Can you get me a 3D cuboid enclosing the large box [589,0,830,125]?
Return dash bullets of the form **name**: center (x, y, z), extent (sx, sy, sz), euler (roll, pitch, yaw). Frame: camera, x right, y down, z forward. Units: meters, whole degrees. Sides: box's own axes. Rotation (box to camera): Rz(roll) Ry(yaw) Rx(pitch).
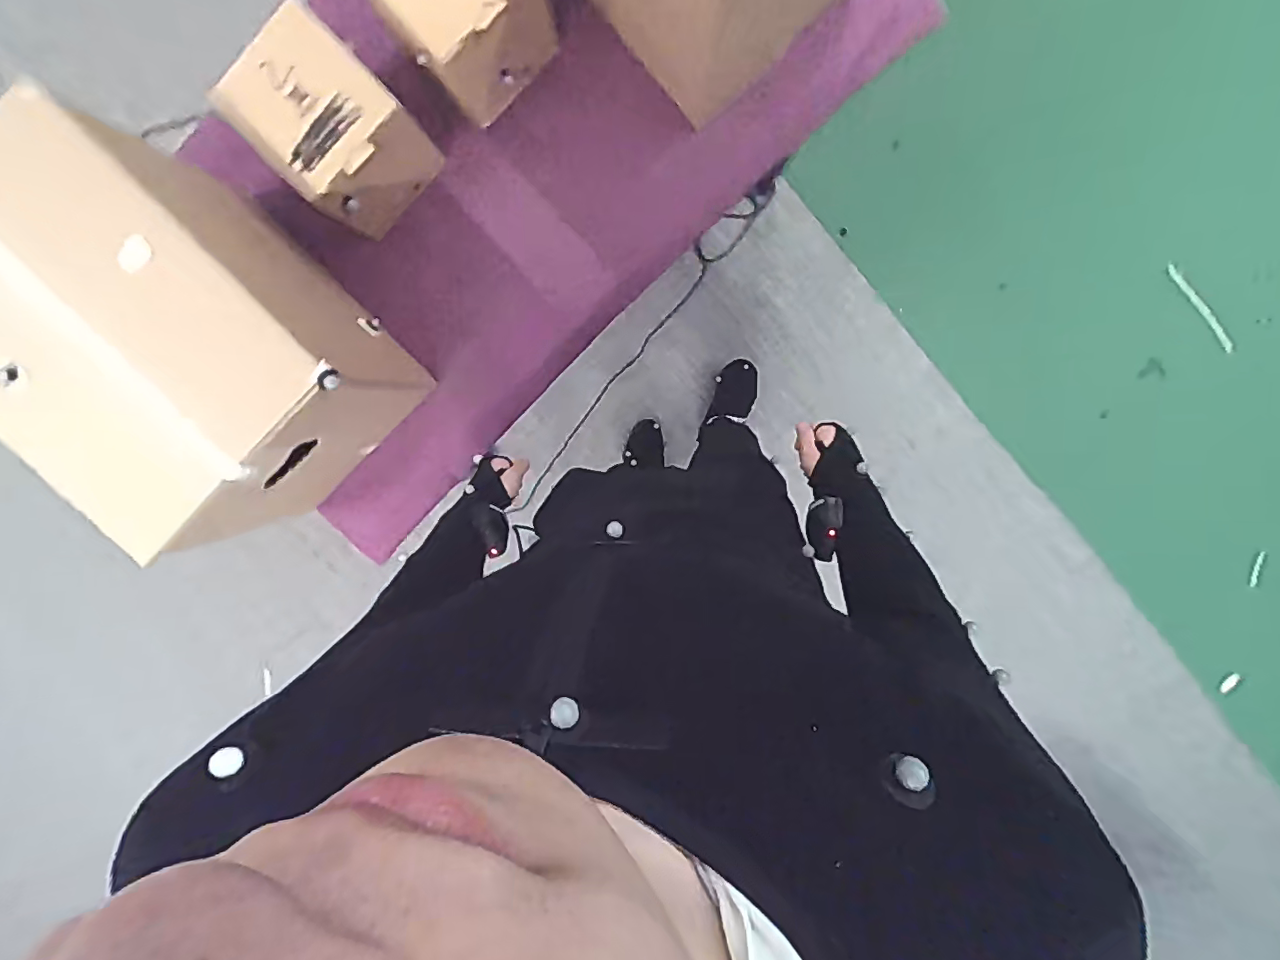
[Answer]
- **large box**: center (0.064, -0.746, 0.628), extent (0.320, 0.320, 0.408), euler (-43, 96, 7)
